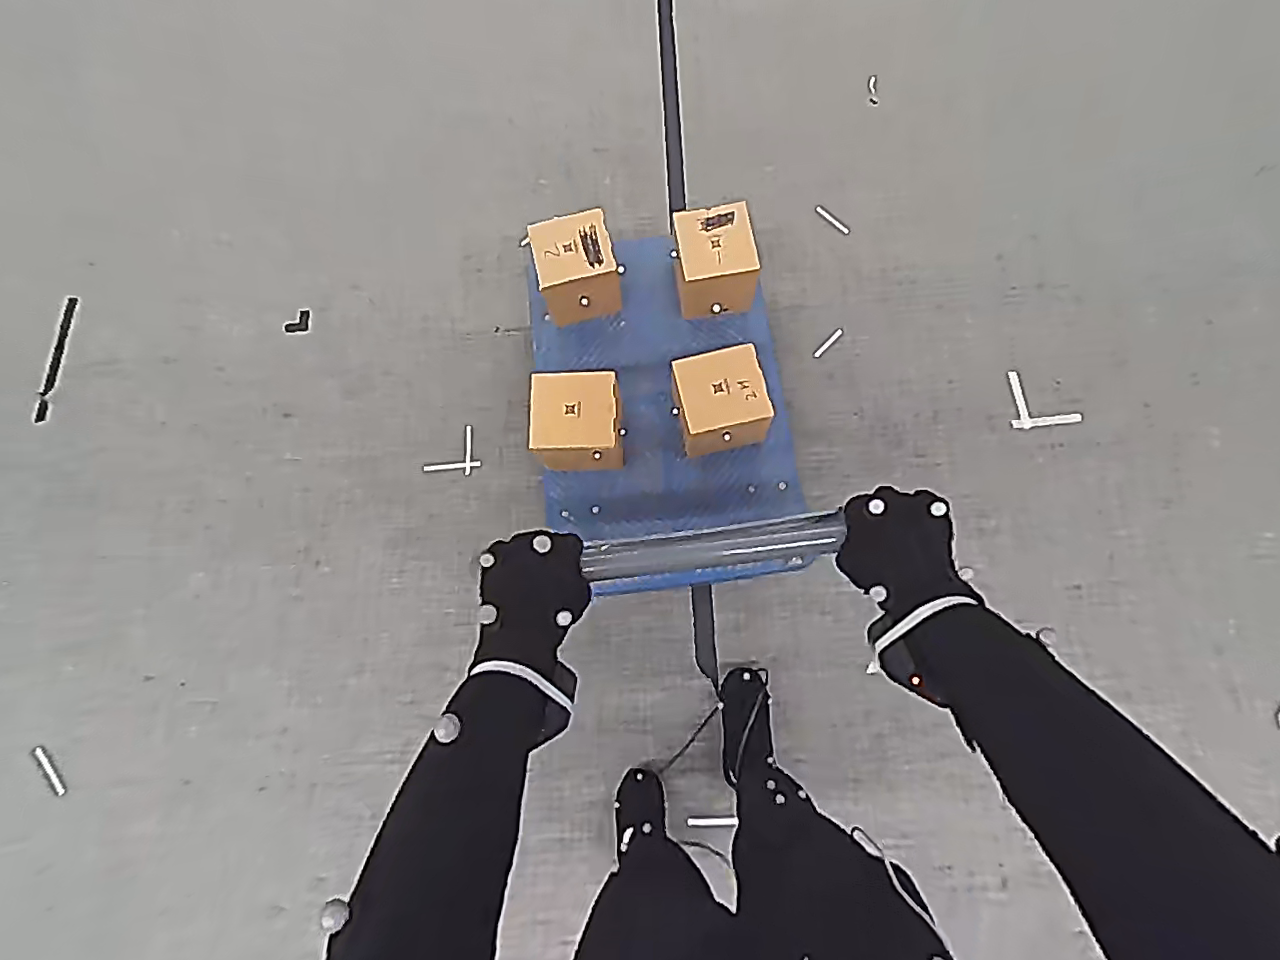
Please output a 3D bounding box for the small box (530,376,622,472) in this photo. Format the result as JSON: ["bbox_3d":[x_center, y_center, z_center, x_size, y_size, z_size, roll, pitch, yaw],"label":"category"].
[{"bbox_3d":[-0.134,-0.116,1.183,0.179,0.176,0.168,-2,75,1],"label":"small box"}]

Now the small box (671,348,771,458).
[{"bbox_3d":[0.170,-0.159,1.176,0.179,0.176,0.168,-13,76,0],"label":"small box"}]

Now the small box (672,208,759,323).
[{"bbox_3d":[0.167,-0.494,1.261,0.168,0.176,0.179,-9,76,1],"label":"small box"}]
